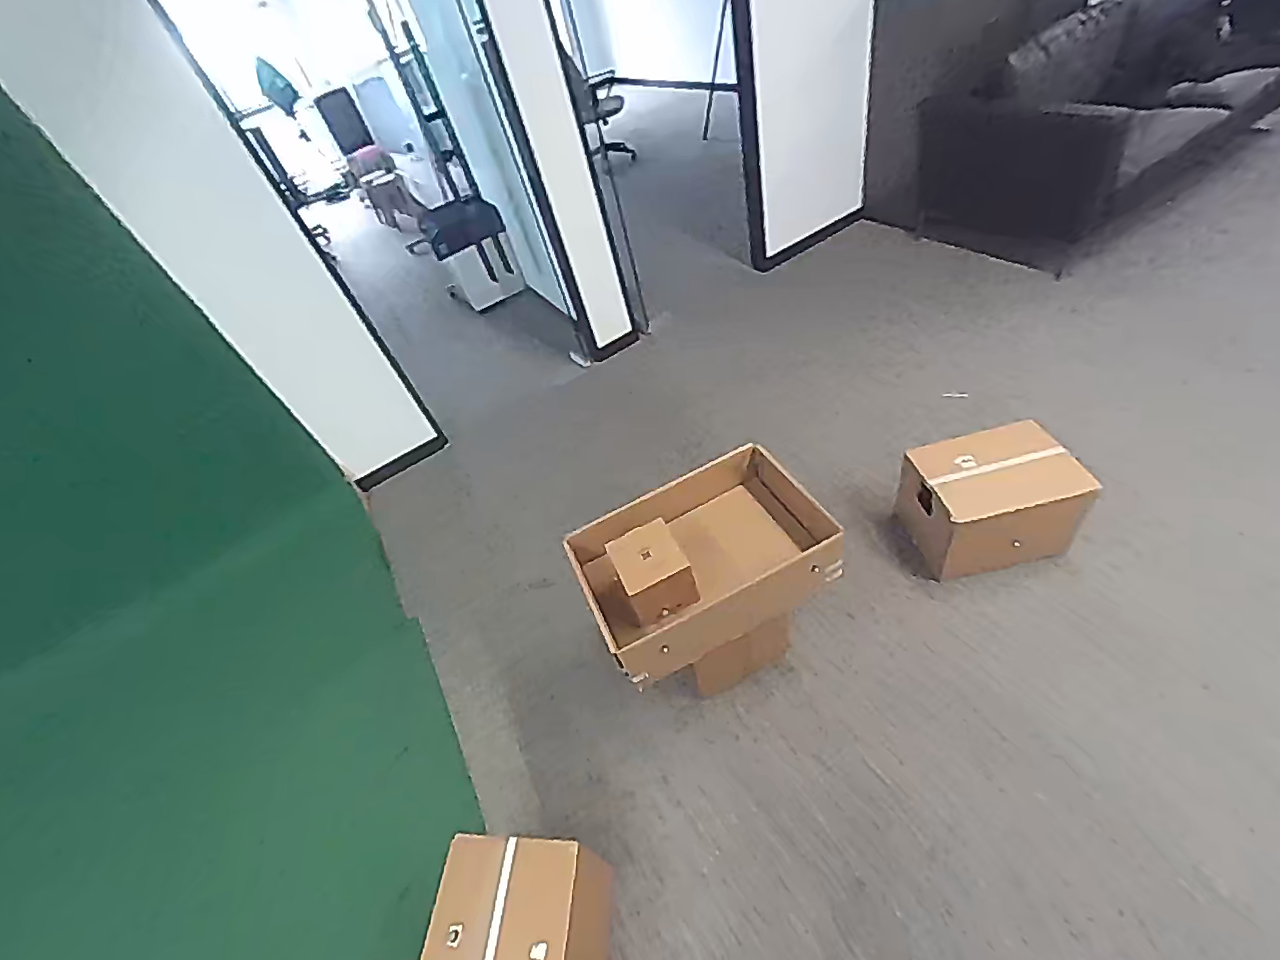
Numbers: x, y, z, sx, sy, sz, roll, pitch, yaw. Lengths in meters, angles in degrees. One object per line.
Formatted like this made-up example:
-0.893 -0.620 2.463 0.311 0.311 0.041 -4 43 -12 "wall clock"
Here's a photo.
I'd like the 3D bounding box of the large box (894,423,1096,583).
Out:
1.080 0.077 1.702 0.408 0.320 0.320 -15 44 4 "large box"
